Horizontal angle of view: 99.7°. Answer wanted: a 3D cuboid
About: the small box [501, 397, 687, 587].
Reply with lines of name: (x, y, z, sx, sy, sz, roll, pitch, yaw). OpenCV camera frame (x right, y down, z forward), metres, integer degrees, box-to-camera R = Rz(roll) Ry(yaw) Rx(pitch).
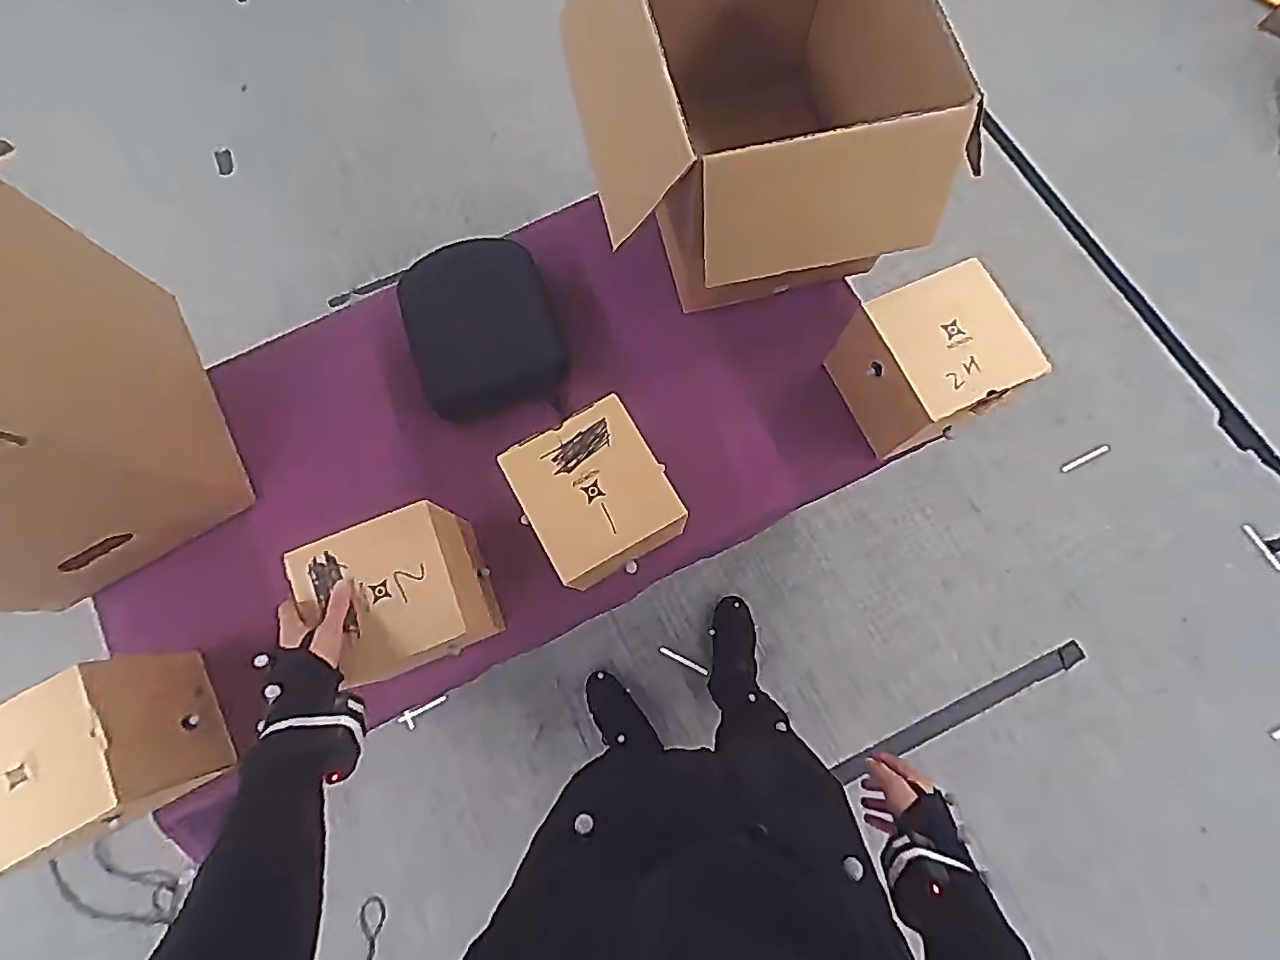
small box: (-0.055, 0.027, 0.710, 0.168, 0.176, 0.179, -29, 78, -5)

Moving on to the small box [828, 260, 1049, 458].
small box: (0.385, -0.154, 0.736, 0.168, 0.176, 0.179, -23, 76, -3)

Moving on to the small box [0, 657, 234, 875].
small box: (-0.654, 0.333, 0.656, 0.179, 0.176, 0.168, -29, 77, -6)
